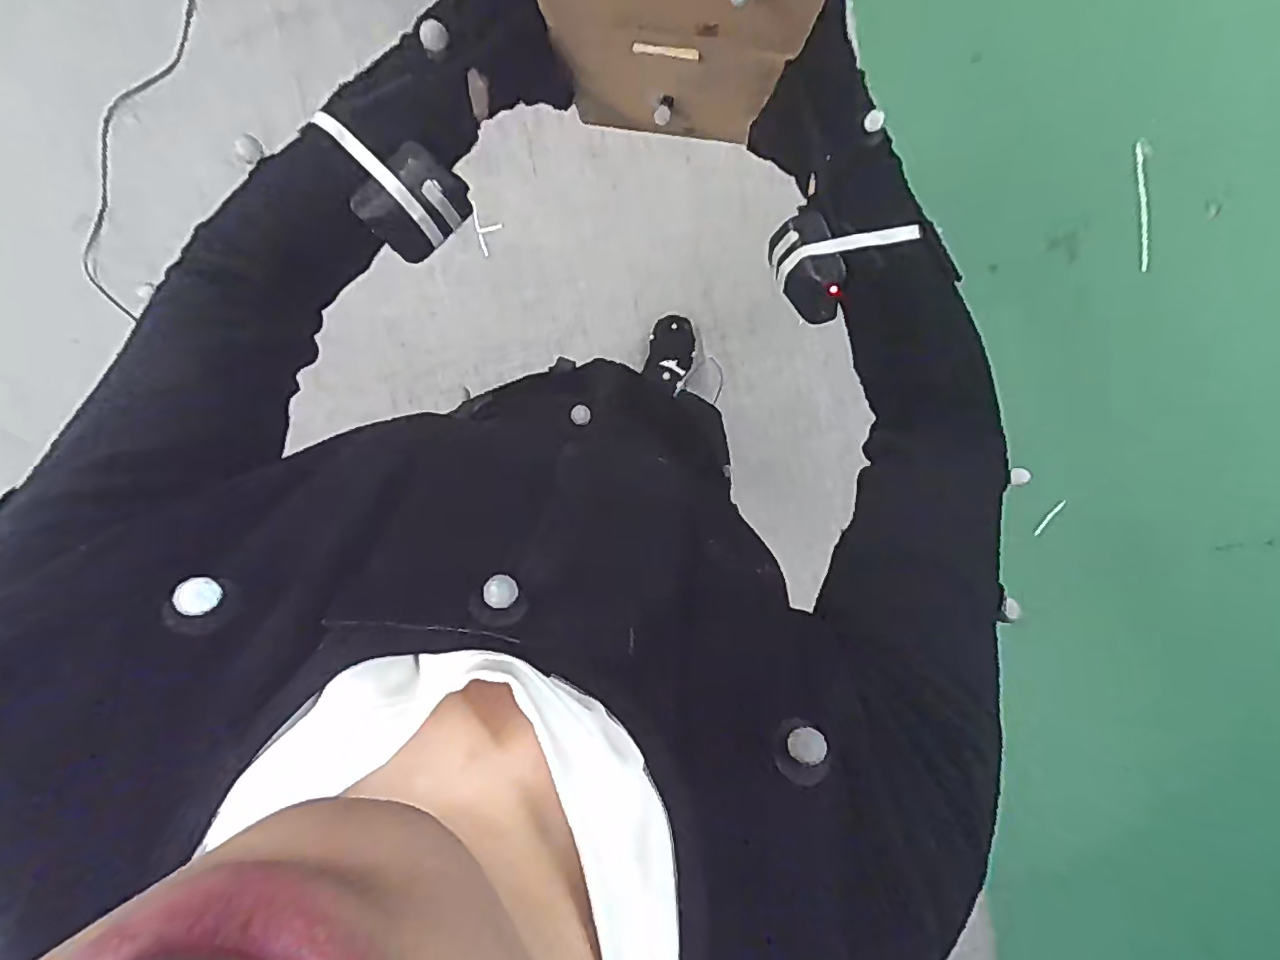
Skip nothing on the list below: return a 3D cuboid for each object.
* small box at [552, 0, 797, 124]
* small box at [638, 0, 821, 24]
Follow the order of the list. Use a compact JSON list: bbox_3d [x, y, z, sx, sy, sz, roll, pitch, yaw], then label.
[{"bbox_3d":[0.034,-0.397,0.410,0.168,0.176,0.179,5,105,2],"label":"small box"},{"bbox_3d":[0.033,-0.346,0.236,0.168,0.176,0.179,7,106,1],"label":"small box"}]
